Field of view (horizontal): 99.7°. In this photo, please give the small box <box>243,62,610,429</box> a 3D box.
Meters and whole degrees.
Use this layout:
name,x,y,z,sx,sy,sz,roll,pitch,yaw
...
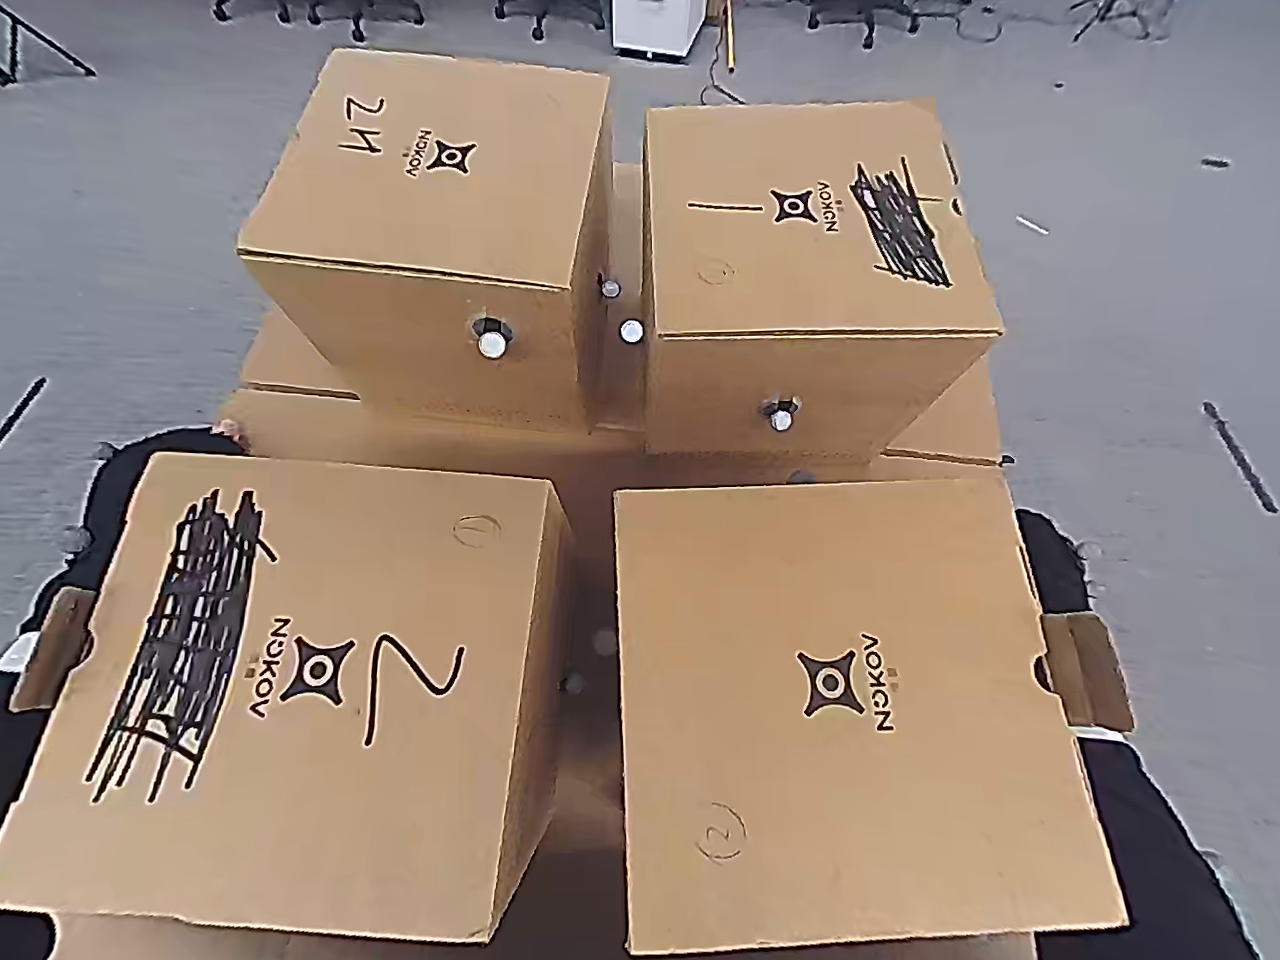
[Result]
name,x,y,z,sx,sy,sz,roll,pitch,yaw
small box,-0.118,-0.151,0.389,0.179,0.176,0.168,7,68,2
